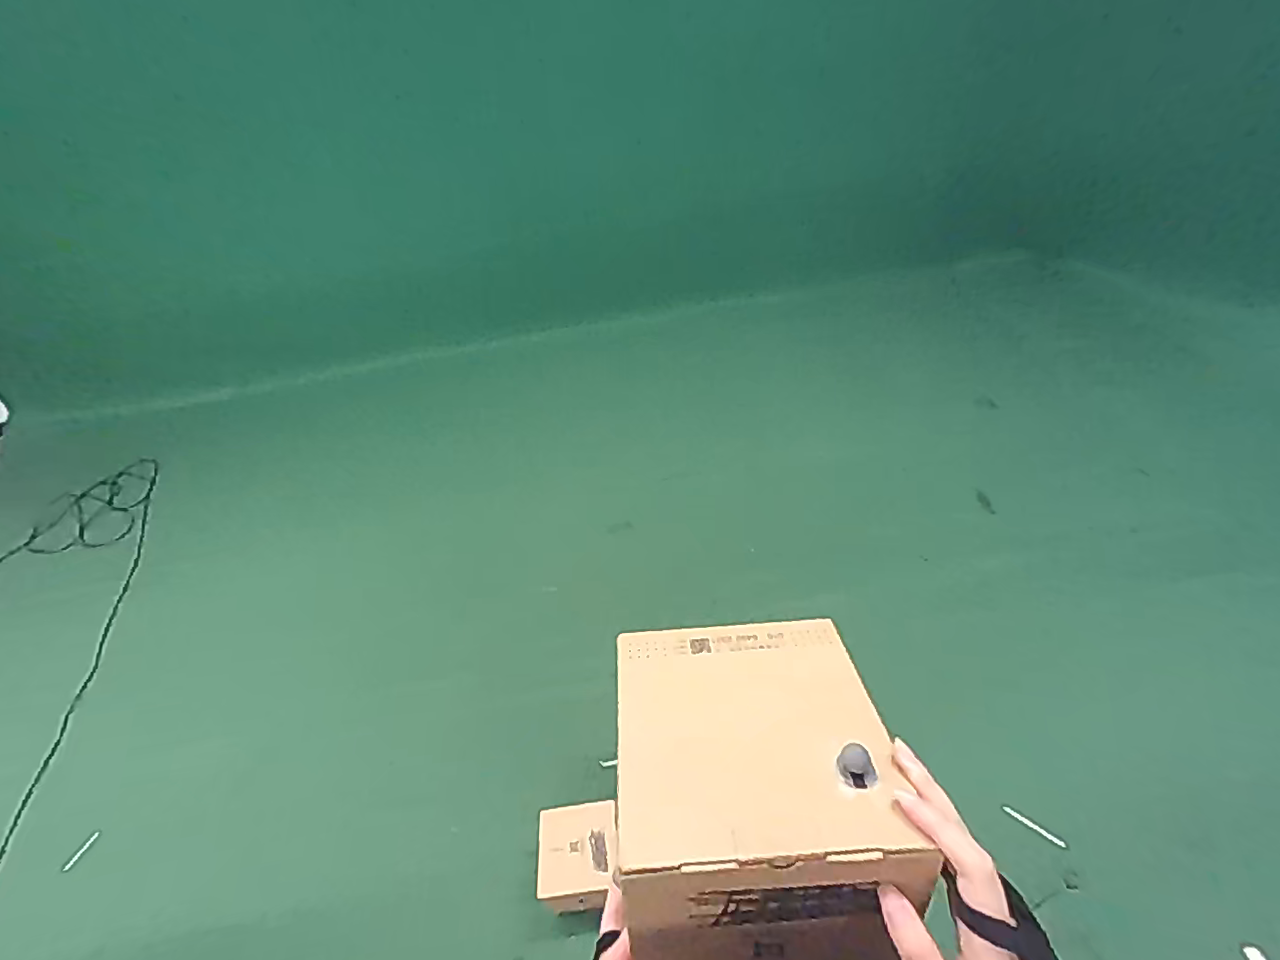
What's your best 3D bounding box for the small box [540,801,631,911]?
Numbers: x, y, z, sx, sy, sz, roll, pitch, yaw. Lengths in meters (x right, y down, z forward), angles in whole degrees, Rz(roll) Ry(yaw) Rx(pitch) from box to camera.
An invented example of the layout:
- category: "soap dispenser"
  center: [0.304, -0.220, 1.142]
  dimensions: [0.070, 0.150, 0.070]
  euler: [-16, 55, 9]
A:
- category: "small box"
  center: [-0.117, 0.853, 1.225]
  dimensions: [0.179, 0.176, 0.168]
  euler: [-10, 43, 2]
